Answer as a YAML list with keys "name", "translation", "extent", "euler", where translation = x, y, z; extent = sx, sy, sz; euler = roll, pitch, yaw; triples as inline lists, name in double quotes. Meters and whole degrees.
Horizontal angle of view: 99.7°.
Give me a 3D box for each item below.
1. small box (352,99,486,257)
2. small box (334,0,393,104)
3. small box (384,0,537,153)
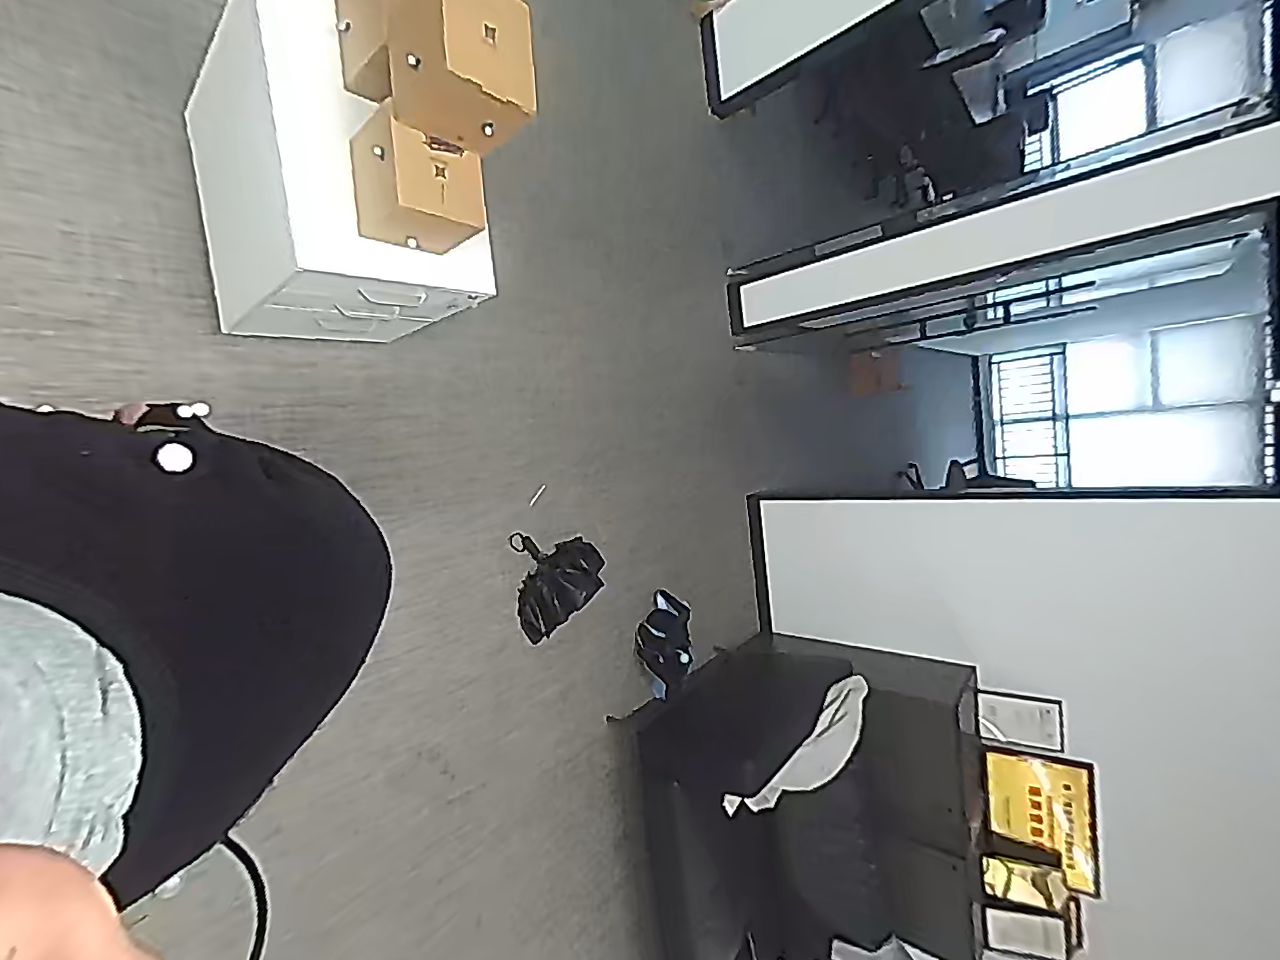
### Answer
- name: "small box"
  translation: [-0.403, -0.531, 0.982]
  extent: [0.168, 0.176, 0.179]
  euler: [-8, 95, -48]
- name: "small box"
  translation: [-0.424, -0.790, 0.967]
  extent: [0.168, 0.176, 0.179]
  euler: [-12, 100, -48]
- name: "small box"
  translation: [-0.290, -0.668, 0.870]
  extent: [0.168, 0.176, 0.179]
  euler: [-9, 95, -49]
